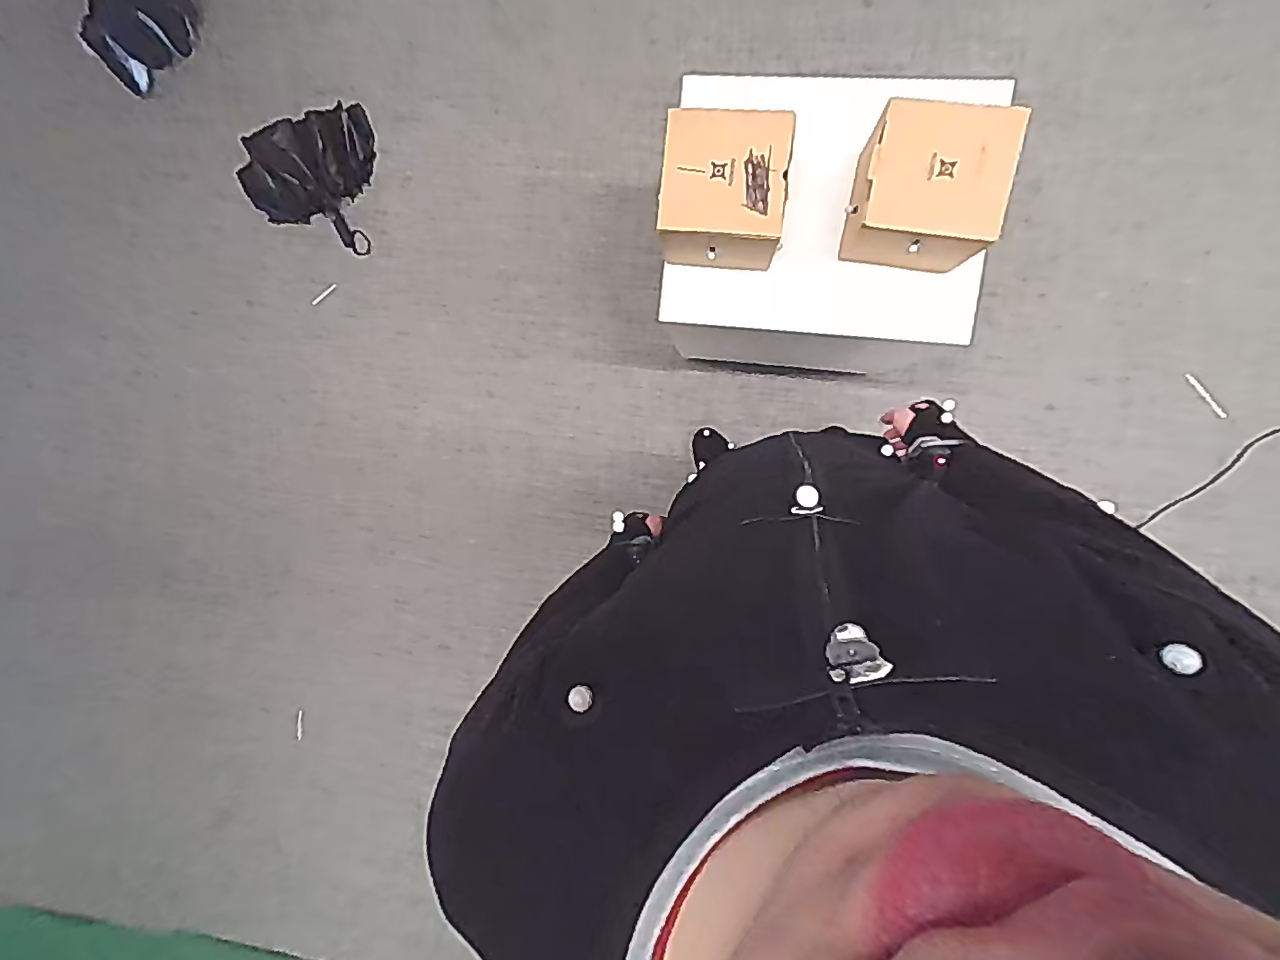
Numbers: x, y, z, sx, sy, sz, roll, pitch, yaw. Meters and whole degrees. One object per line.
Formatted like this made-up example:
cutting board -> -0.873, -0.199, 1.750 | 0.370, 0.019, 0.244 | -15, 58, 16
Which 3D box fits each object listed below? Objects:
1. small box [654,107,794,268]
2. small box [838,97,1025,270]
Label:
small box -> 0.124, -0.432, 0.822 | 0.179, 0.176, 0.168 | 7, 97, 8
small box -> 0.404, -0.417, 0.786 | 0.179, 0.176, 0.168 | 11, 99, 7
